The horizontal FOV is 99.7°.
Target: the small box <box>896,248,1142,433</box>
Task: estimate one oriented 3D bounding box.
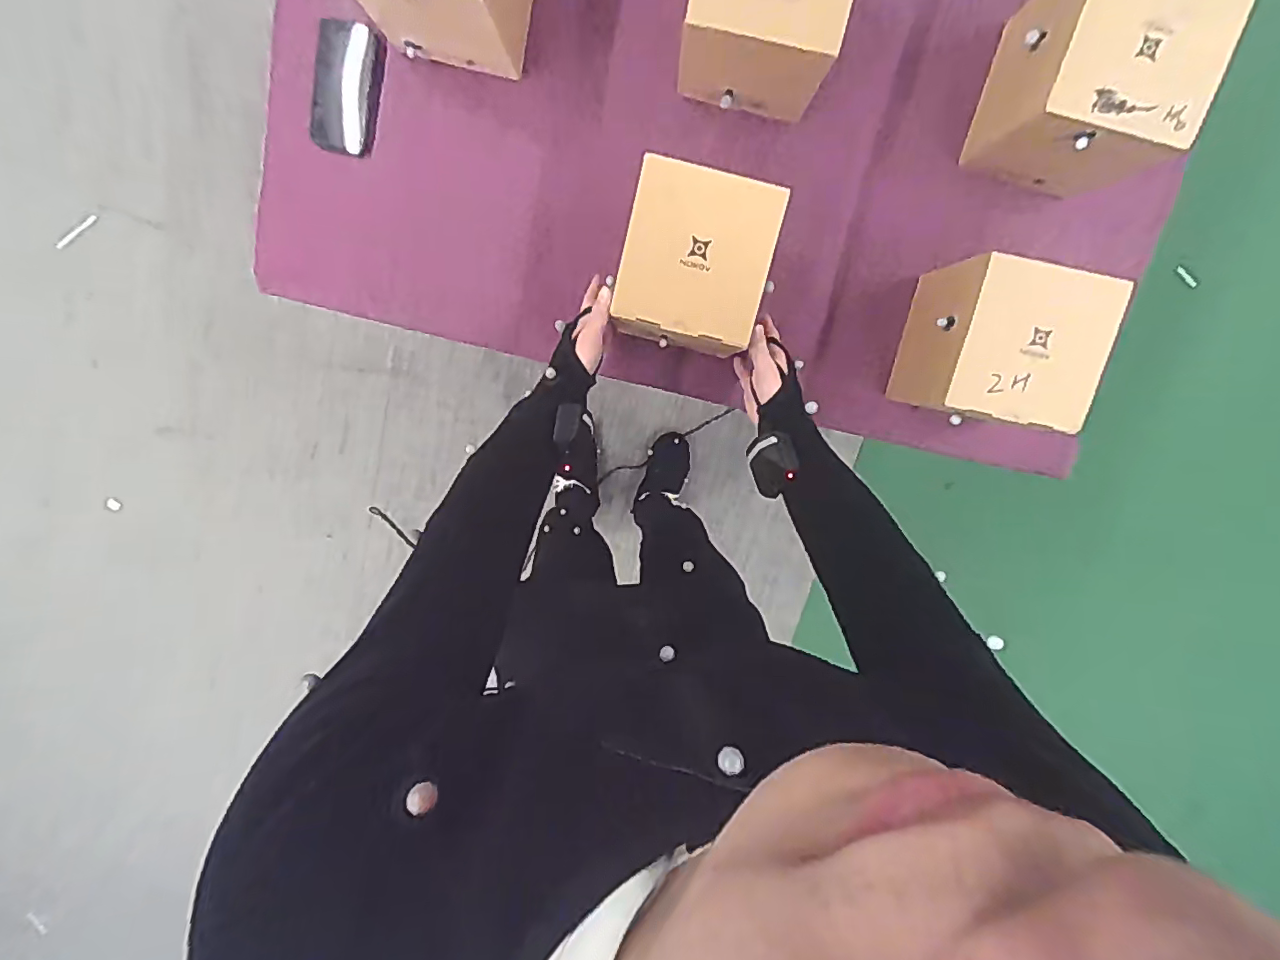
[{"bbox_3d":[0.453,-0.170,0.682,0.168,0.176,0.179,12,103,1],"label":"small box"}]

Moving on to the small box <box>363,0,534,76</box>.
[{"bbox_3d":[-0.217,-0.606,0.614,0.168,0.176,0.179,12,102,-1],"label":"small box"}]

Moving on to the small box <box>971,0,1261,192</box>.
[{"bbox_3d":[0.524,-0.465,0.621,0.168,0.176,0.179,14,102,0],"label":"small box"}]

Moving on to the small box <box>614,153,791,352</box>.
[{"bbox_3d":[0.068,-0.266,0.677,0.168,0.176,0.179,13,101,-1],"label":"small box"}]

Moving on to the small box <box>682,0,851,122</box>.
[{"bbox_3d":[0.145,-0.553,0.616,0.168,0.176,0.179,13,103,0],"label":"small box"}]
